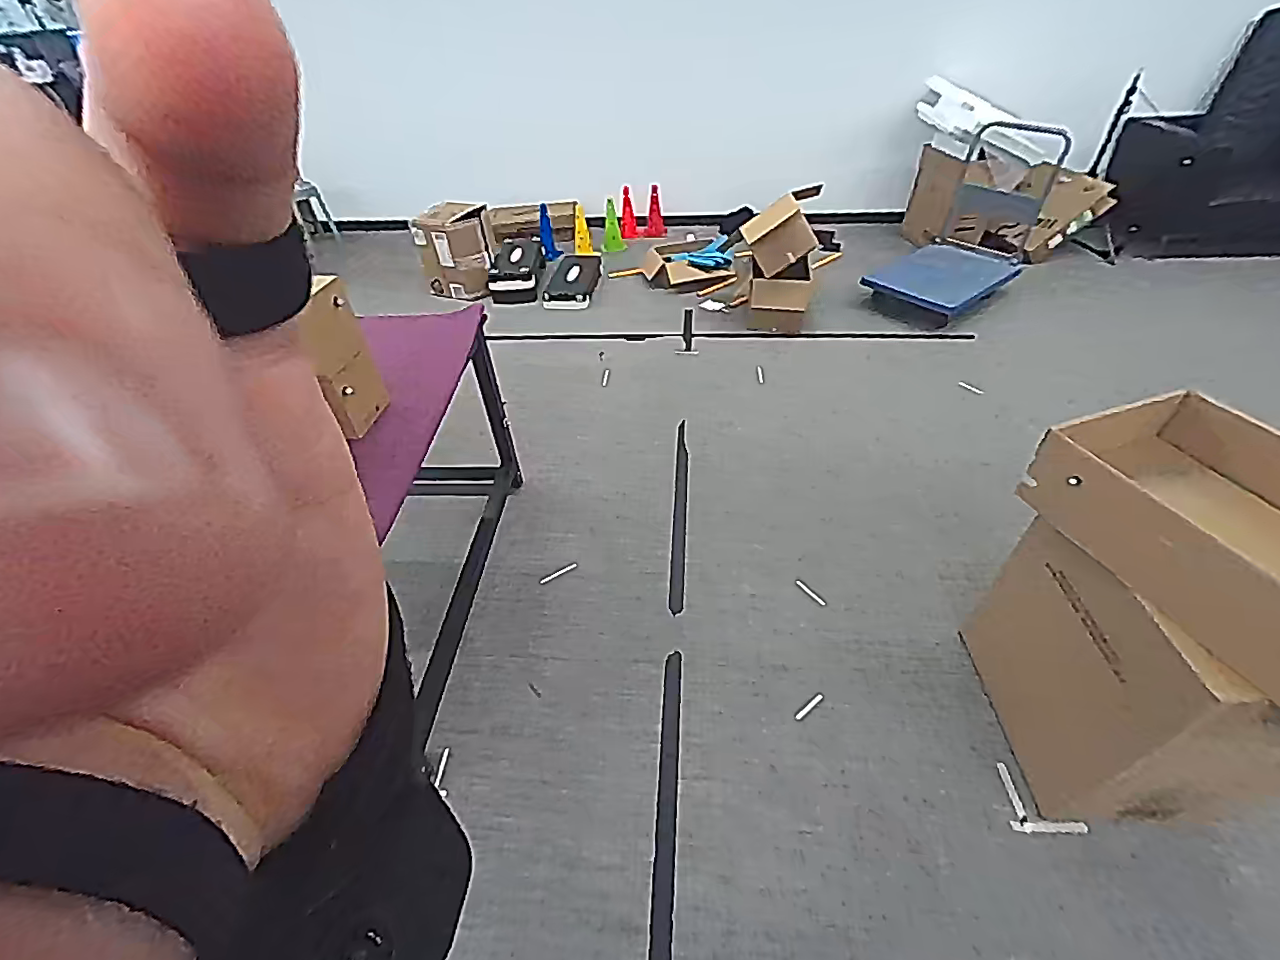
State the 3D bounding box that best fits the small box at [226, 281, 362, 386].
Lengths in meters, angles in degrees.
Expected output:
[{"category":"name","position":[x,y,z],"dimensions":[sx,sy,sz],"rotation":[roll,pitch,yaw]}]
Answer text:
[{"category":"small box","position":[-0.752,-0.328,1.205],"dimensions":[0.168,0.176,0.179],"rotation":[2,43,7]}]
